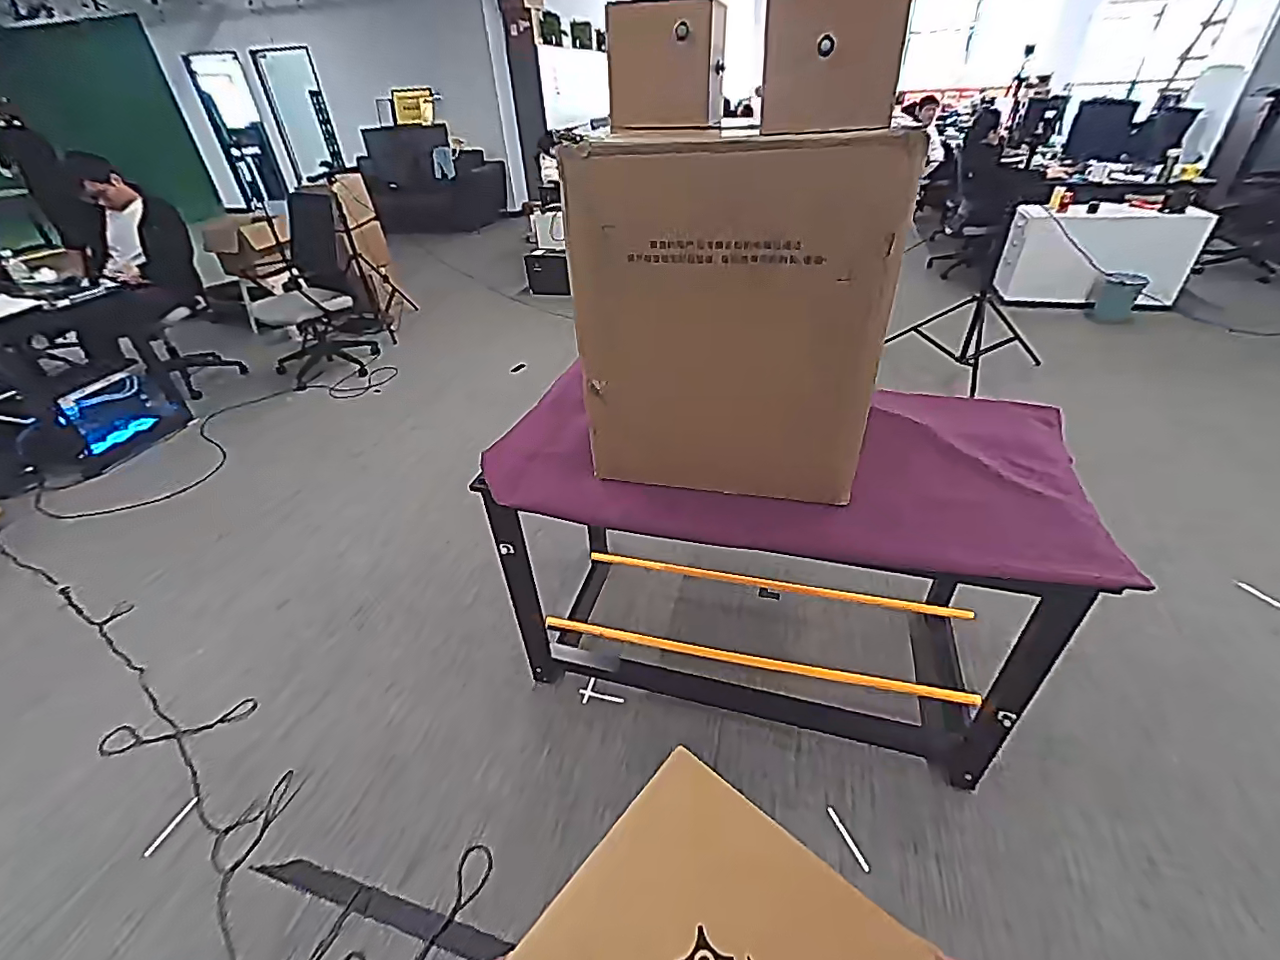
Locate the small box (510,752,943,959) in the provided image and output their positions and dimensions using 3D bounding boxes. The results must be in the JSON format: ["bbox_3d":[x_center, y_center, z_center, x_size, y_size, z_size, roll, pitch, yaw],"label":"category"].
[{"bbox_3d":[0.048,0.320,0.330,0.179,0.176,0.168,26,49,35],"label":"small box"}]
